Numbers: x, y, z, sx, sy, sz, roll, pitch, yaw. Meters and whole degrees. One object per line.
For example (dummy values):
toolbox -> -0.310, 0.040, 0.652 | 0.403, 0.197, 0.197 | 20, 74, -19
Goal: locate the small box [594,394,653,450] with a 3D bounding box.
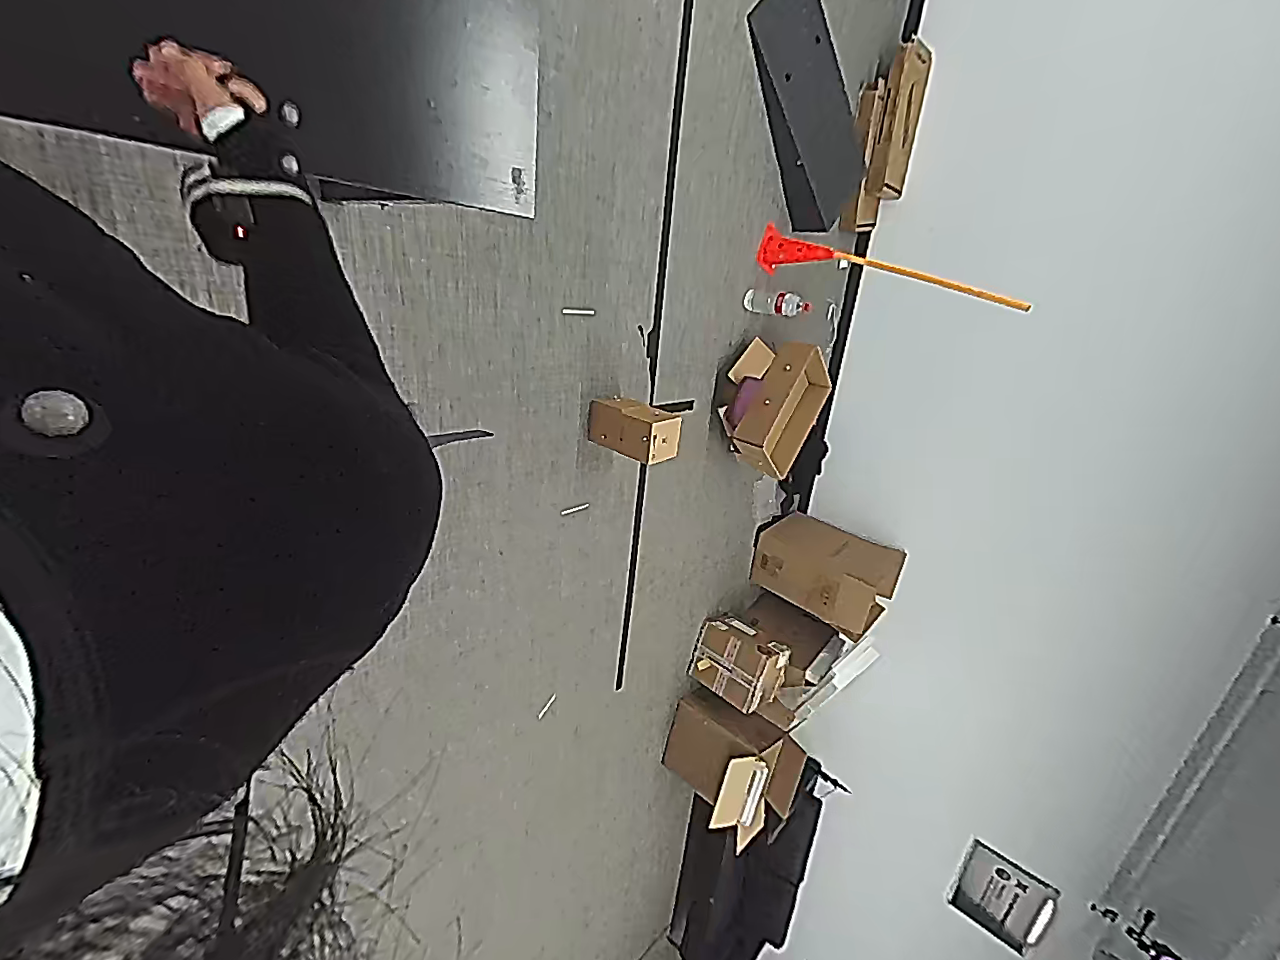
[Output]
small box -> -0.068, -0.236, 2.171 | 0.168, 0.176, 0.179 | -18, 121, -46

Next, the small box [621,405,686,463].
small box -> 0.051, -0.183, 2.071 | 0.179, 0.176, 0.168 | -20, 123, -45
